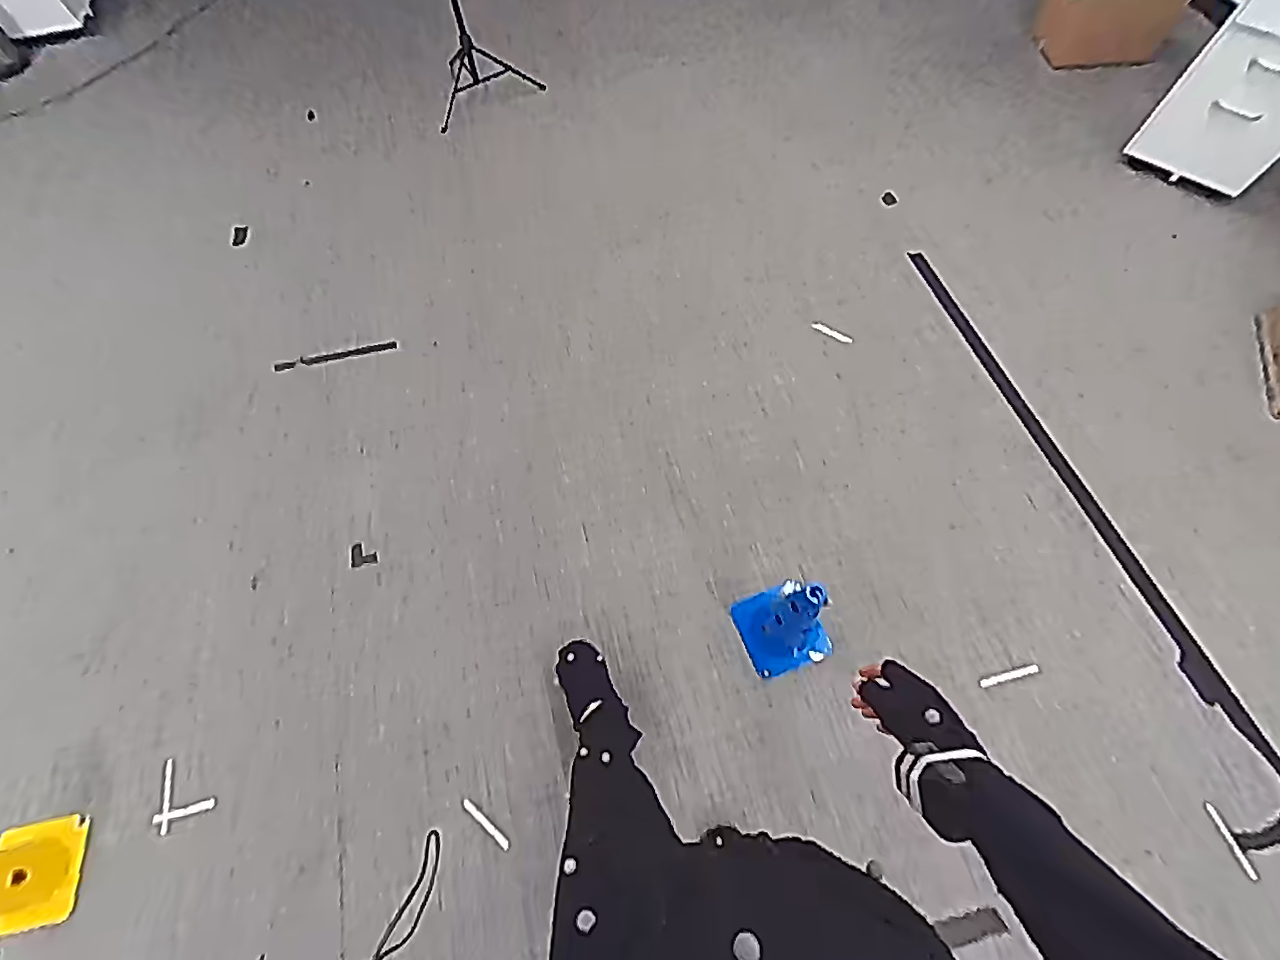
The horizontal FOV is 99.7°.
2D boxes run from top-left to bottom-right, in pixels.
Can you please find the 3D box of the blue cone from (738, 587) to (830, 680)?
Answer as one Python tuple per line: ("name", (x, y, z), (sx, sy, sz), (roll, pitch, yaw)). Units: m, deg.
("blue cone", (0.347, 0.303, 1.194), (0.193, 0.380, 0.192), (-19, 65, -7))
